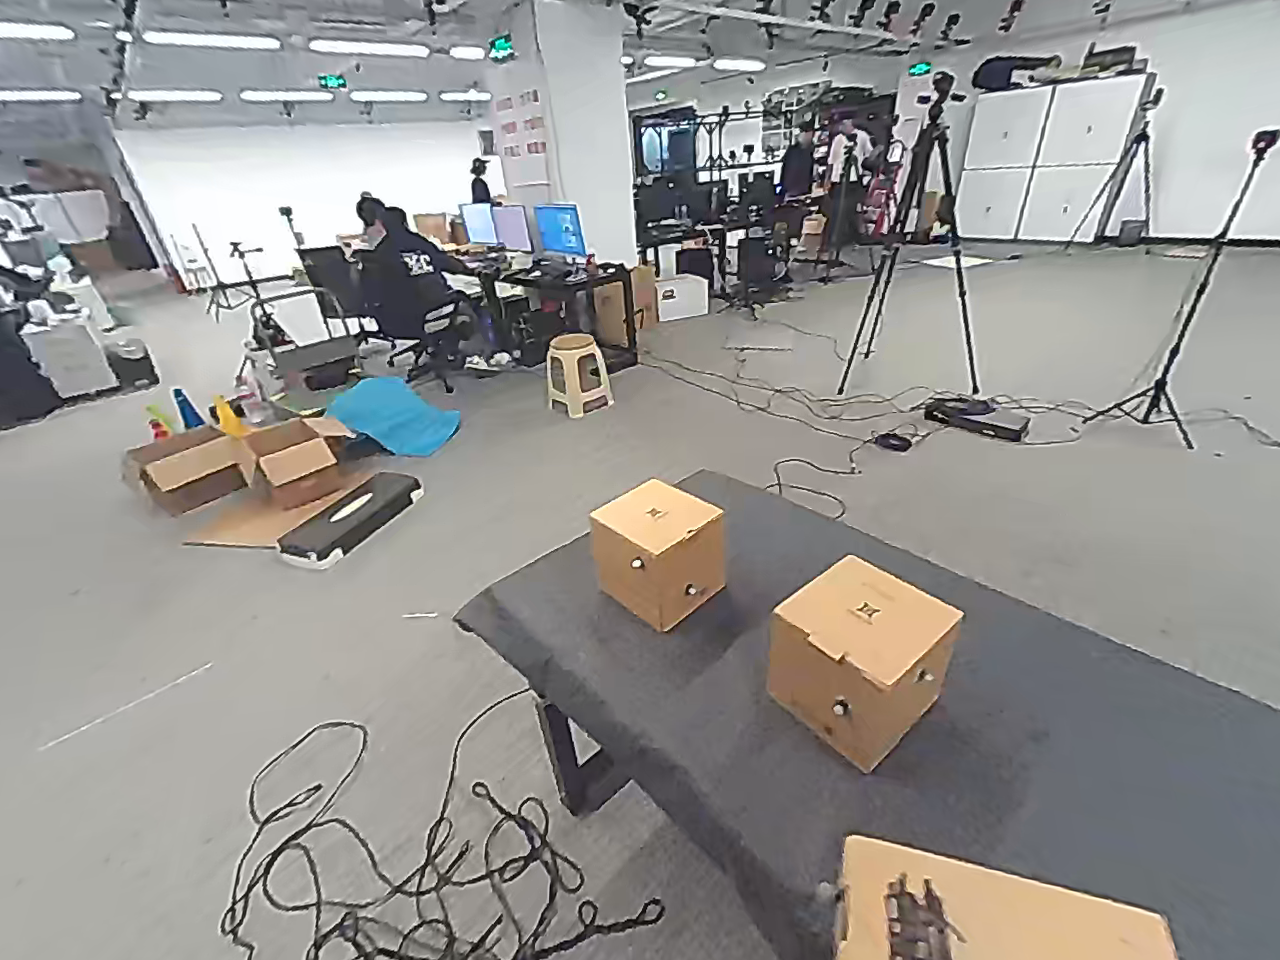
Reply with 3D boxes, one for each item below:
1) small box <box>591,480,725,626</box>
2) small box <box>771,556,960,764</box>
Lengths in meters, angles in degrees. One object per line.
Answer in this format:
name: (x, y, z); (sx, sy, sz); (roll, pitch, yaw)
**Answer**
small box: (0.033, 0.127, 0.968); (0.168, 0.176, 0.179); (-28, 38, -35)
small box: (0.296, 0.240, 0.737); (0.179, 0.176, 0.168); (-24, 36, -31)
